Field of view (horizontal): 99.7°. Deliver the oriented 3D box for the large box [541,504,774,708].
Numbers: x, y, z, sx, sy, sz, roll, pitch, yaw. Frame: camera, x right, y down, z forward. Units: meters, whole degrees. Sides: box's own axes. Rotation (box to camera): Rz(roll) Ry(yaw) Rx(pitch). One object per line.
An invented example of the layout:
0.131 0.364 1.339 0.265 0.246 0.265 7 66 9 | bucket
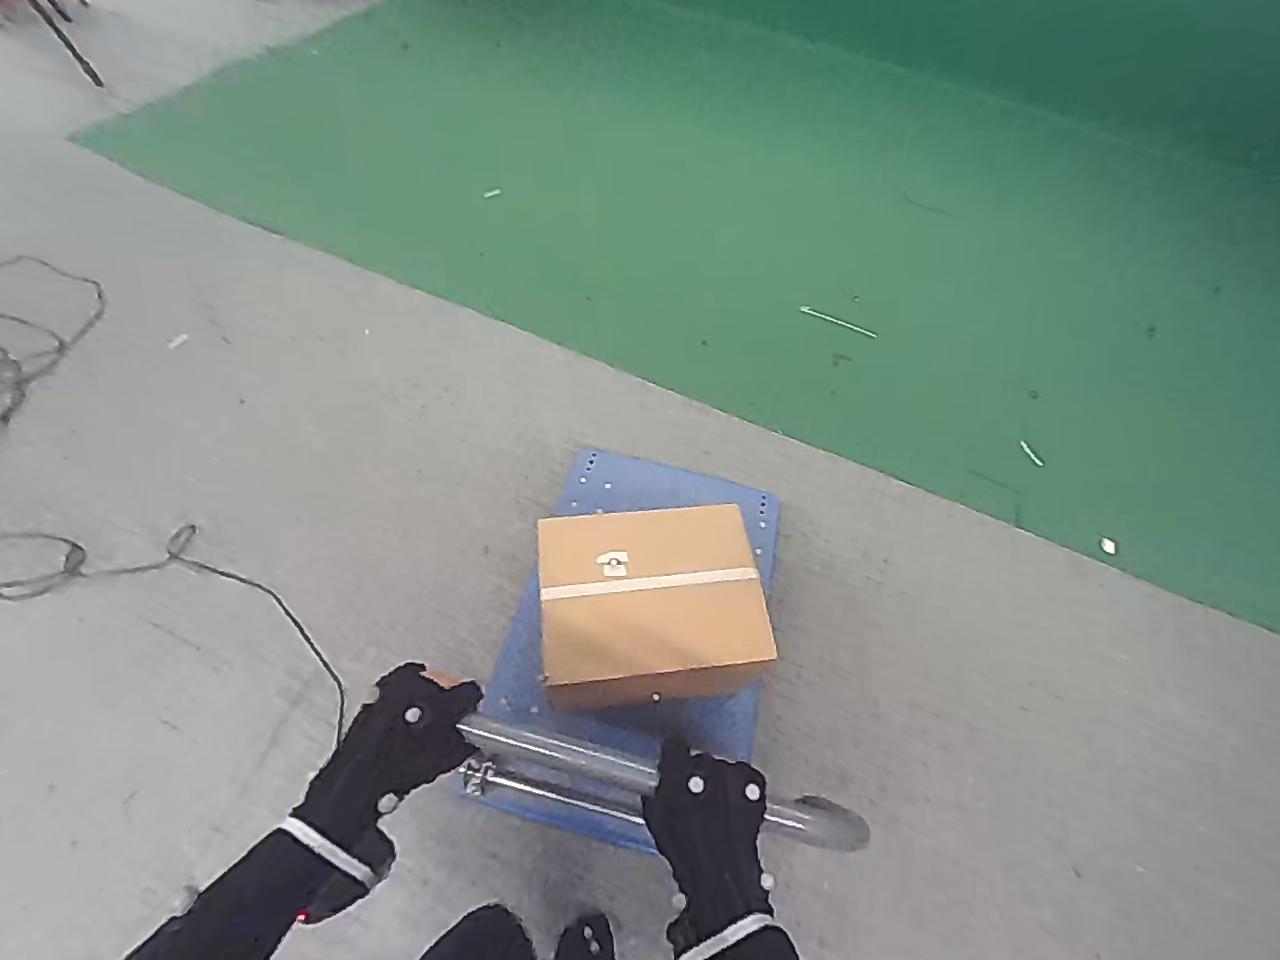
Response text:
0.015 0.272 1.135 0.408 0.320 0.320 -5 58 -7 | large box
